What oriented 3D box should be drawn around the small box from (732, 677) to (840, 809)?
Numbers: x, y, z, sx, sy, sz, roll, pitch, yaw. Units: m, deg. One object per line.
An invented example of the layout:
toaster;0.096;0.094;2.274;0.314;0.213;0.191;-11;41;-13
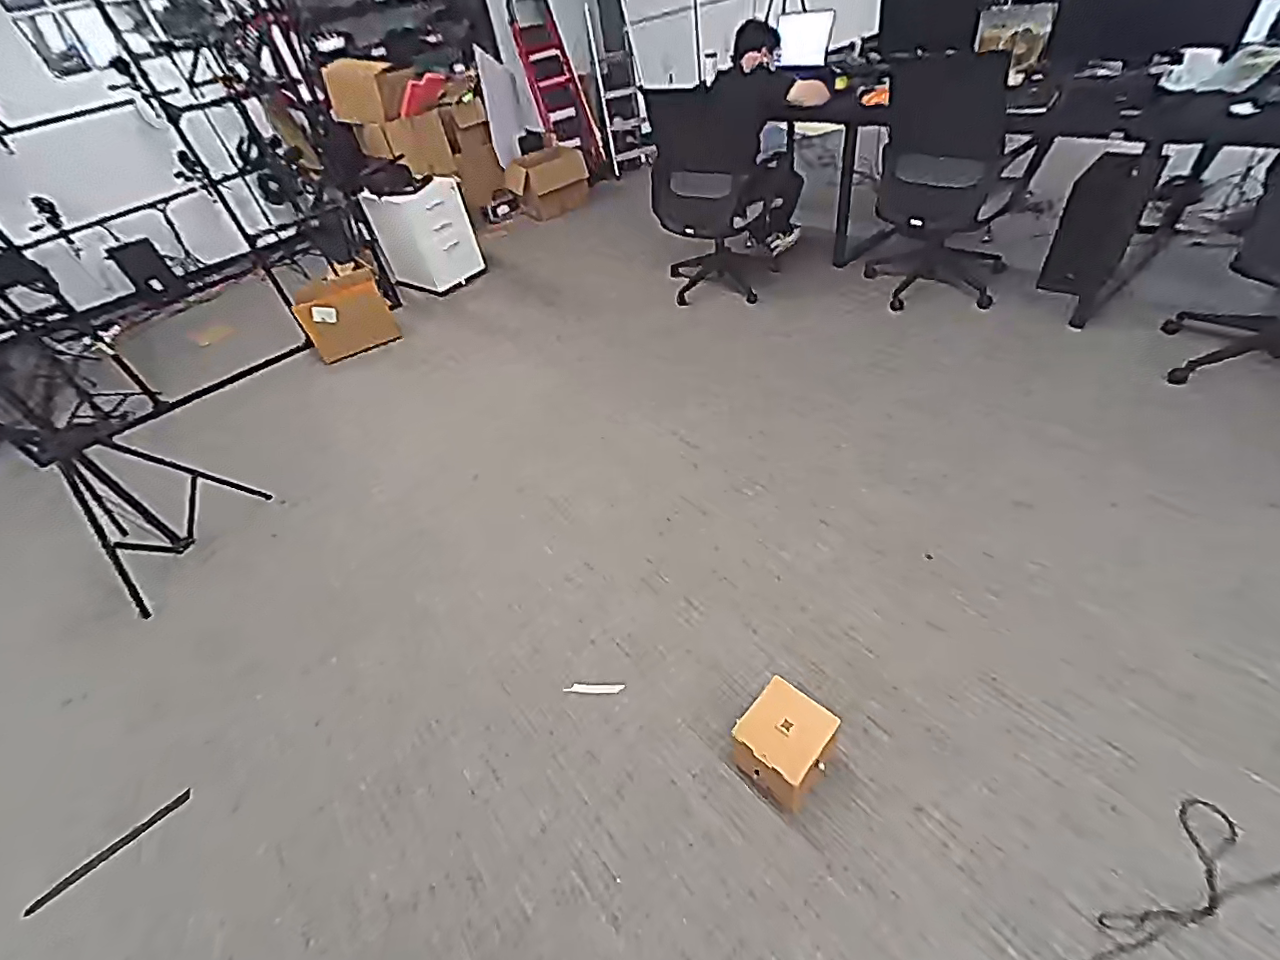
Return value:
small box;0.321;0.587;1.210;0.168;0.176;0.179;29;57;35
